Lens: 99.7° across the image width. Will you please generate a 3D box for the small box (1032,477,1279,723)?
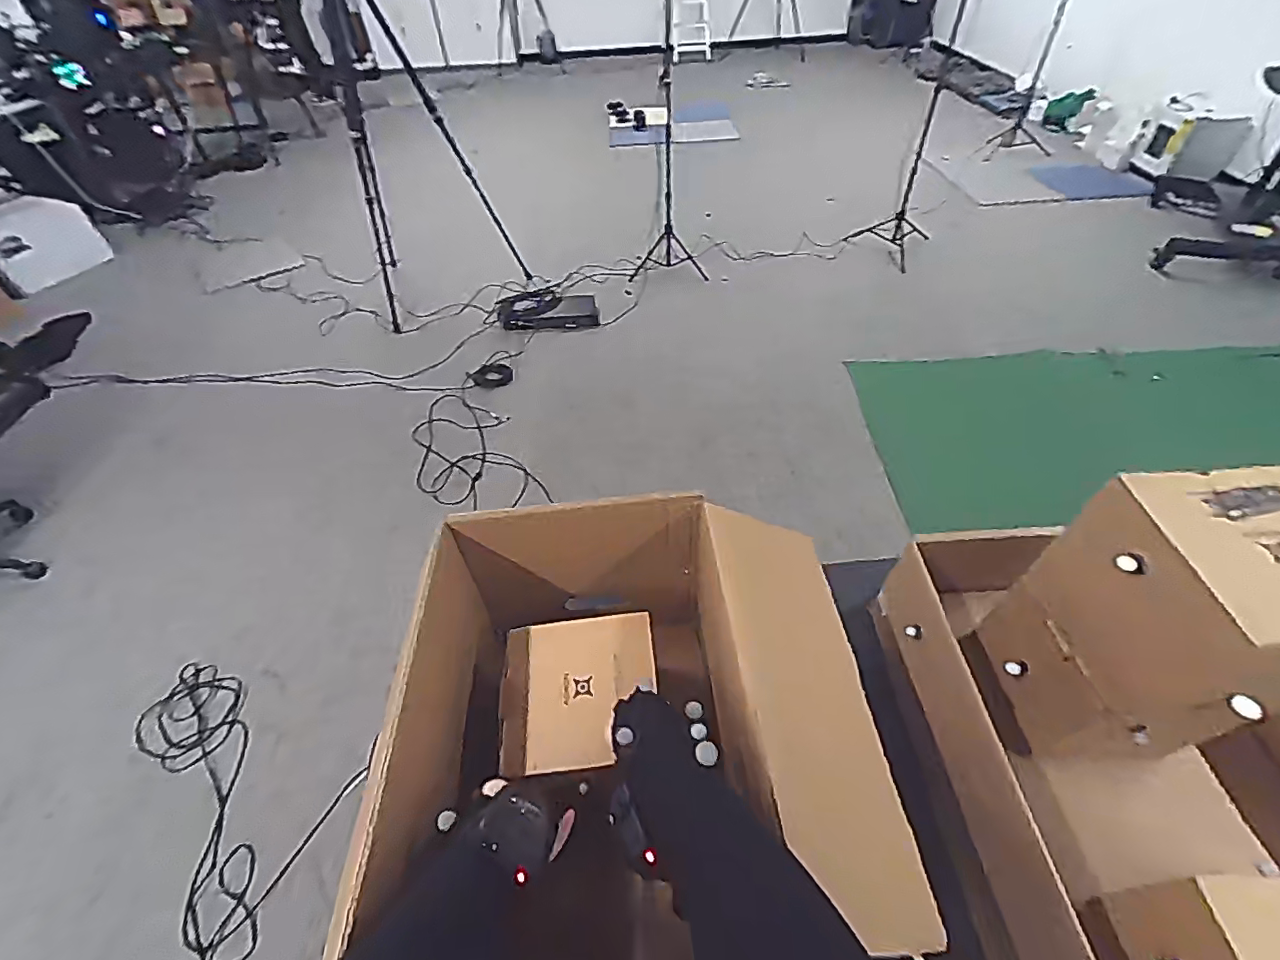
[{"bbox_3d":[0.536,0.117,0.526,0.168,0.176,0.179,-3,49,1],"label":"small box"}]
